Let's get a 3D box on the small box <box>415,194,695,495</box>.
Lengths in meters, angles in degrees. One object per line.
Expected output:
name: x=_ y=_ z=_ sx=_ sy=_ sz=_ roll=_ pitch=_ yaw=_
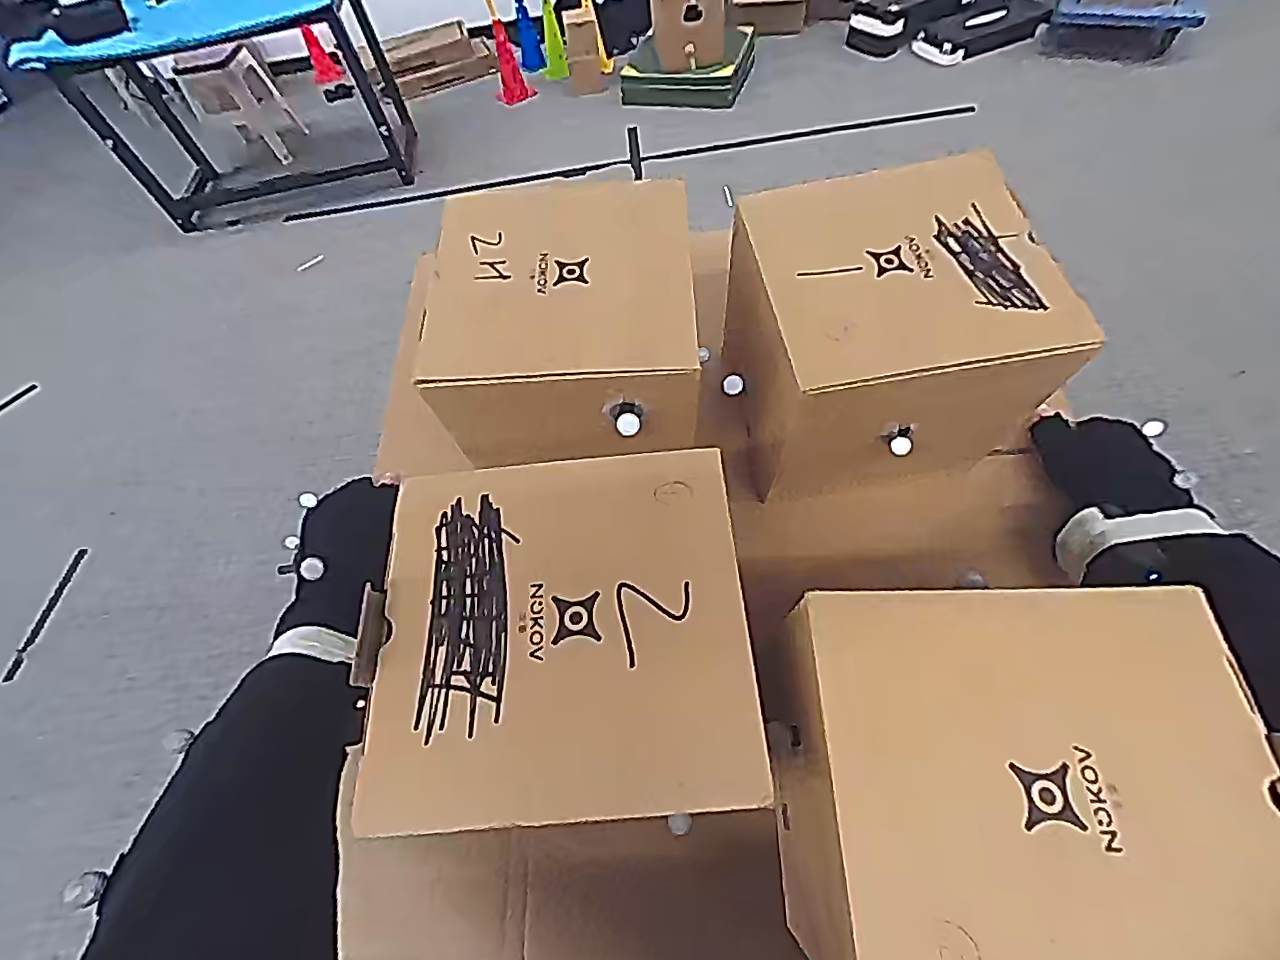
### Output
small box: x=-0.049 y=-0.095 z=0.435 sx=0.179 sy=0.176 sz=0.168 roll=-3 pitch=64 yaw=4
